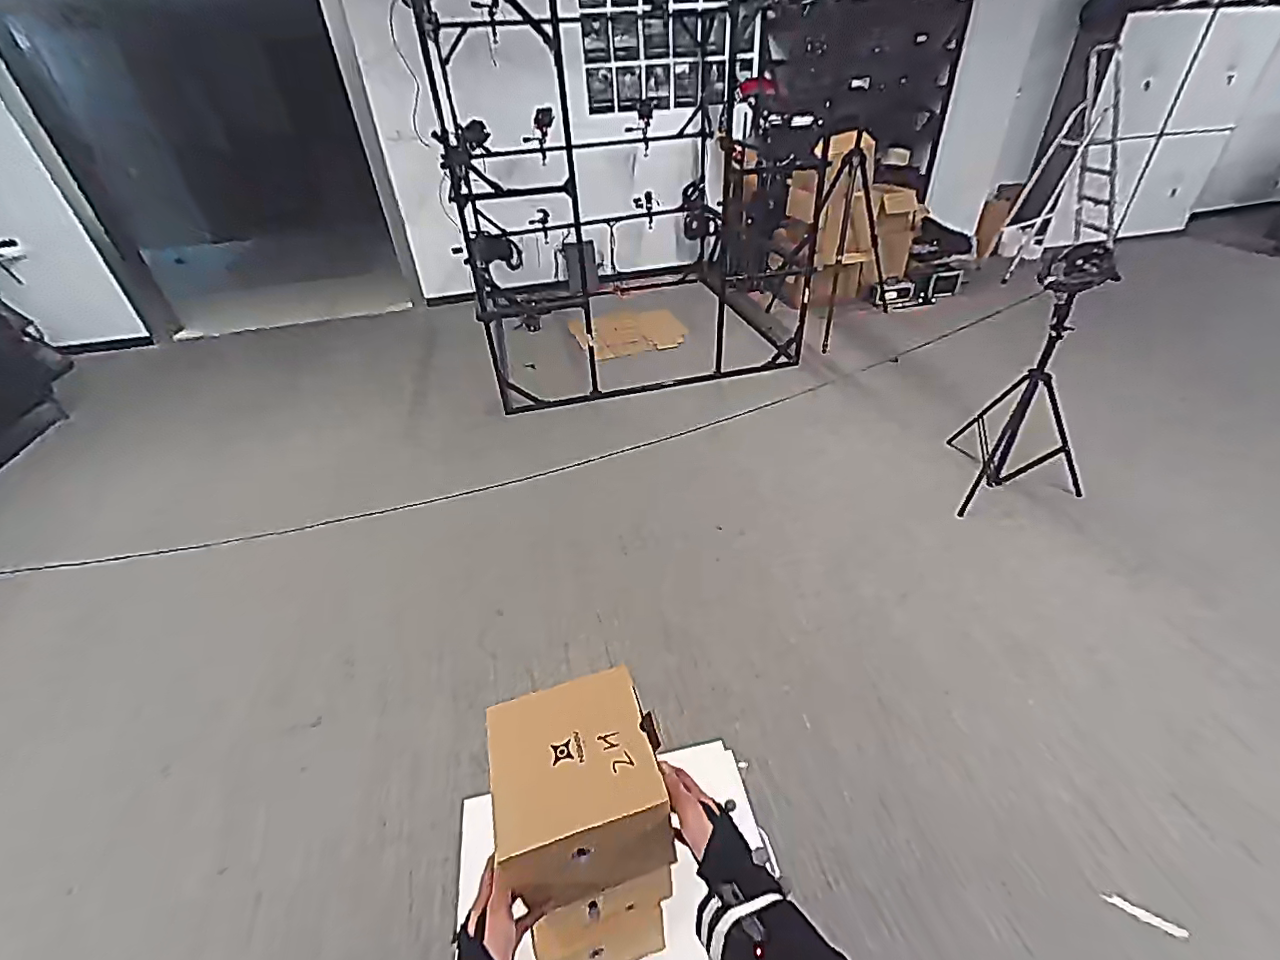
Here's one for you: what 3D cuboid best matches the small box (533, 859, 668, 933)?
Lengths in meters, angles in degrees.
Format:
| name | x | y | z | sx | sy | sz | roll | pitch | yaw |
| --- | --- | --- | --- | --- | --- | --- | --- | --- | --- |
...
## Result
| name | x | y | z | sx | sy | sz | roll | pitch | yaw |
| --- | --- | --- | --- | --- | --- | --- | --- | --- | --- |
| small box | -0.064 | 0.481 | 0.744 | 0.168 | 0.176 | 0.179 | -13 | 37 | -12 |

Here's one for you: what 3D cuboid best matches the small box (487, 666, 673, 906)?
| name | x | y | z | sx | sy | sz | roll | pitch | yaw |
| --- | --- | --- | --- | --- | --- | --- | --- | --- | --- |
| small box | -0.069 | 0.357 | 0.633 | 0.179 | 0.176 | 0.168 | -13 | 38 | -10 |

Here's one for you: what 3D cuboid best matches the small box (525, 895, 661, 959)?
| name | x | y | z | sx | sy | sz | roll | pitch | yaw |
| --- | --- | --- | --- | --- | --- | --- | --- | --- | --- |
| small box | -0.075 | 0.626 | 0.823 | 0.179 | 0.176 | 0.168 | -13 | 38 | -13 |
